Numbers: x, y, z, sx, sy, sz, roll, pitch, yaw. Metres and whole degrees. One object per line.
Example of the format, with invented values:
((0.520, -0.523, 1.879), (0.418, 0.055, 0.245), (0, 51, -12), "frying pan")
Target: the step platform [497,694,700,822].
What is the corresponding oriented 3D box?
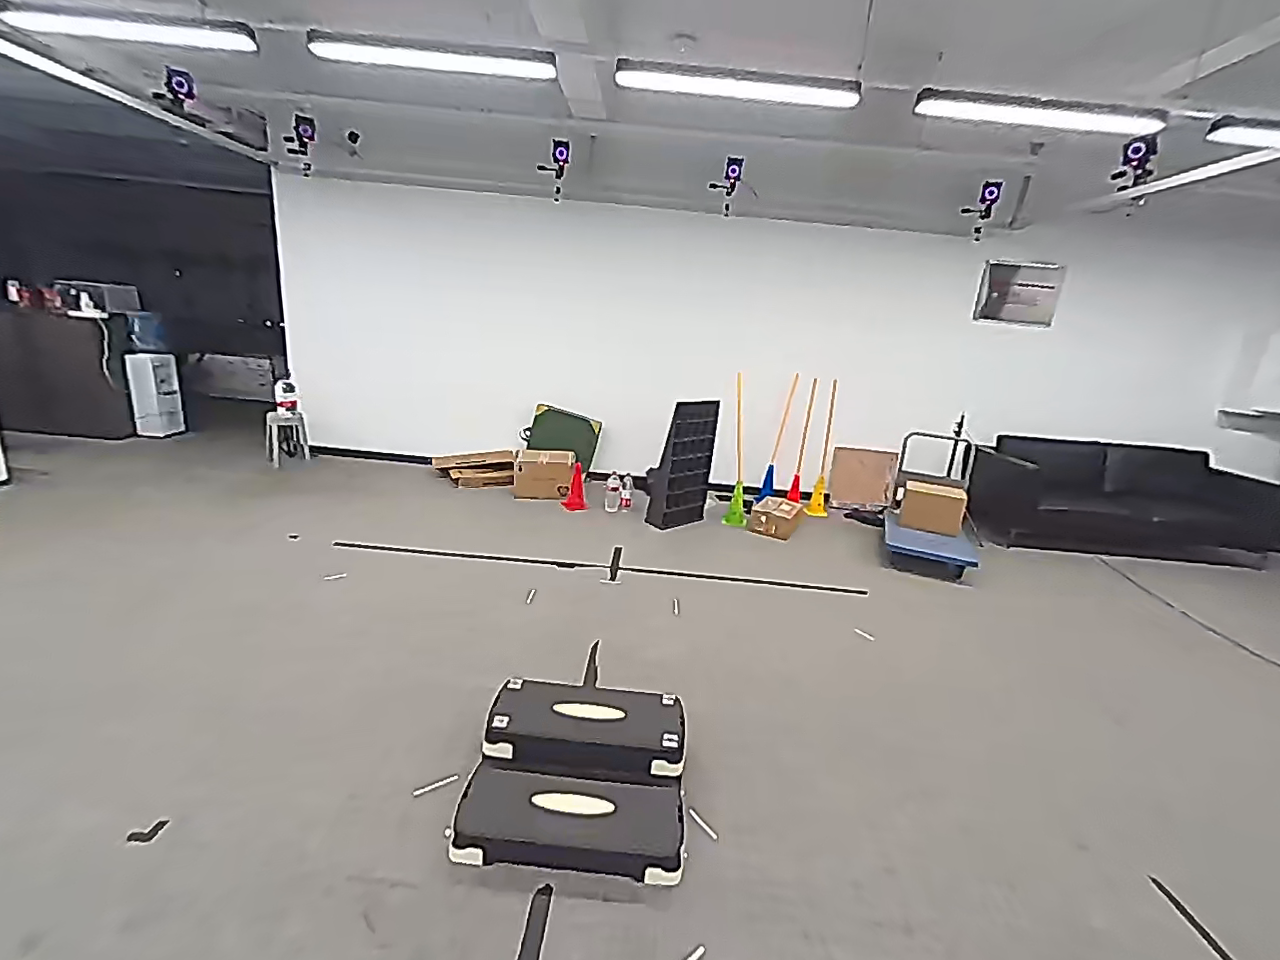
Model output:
((-0.136, 0.943, 1.868), (0.684, 0.204, 0.286), (7, 15, 6), "step platform")
